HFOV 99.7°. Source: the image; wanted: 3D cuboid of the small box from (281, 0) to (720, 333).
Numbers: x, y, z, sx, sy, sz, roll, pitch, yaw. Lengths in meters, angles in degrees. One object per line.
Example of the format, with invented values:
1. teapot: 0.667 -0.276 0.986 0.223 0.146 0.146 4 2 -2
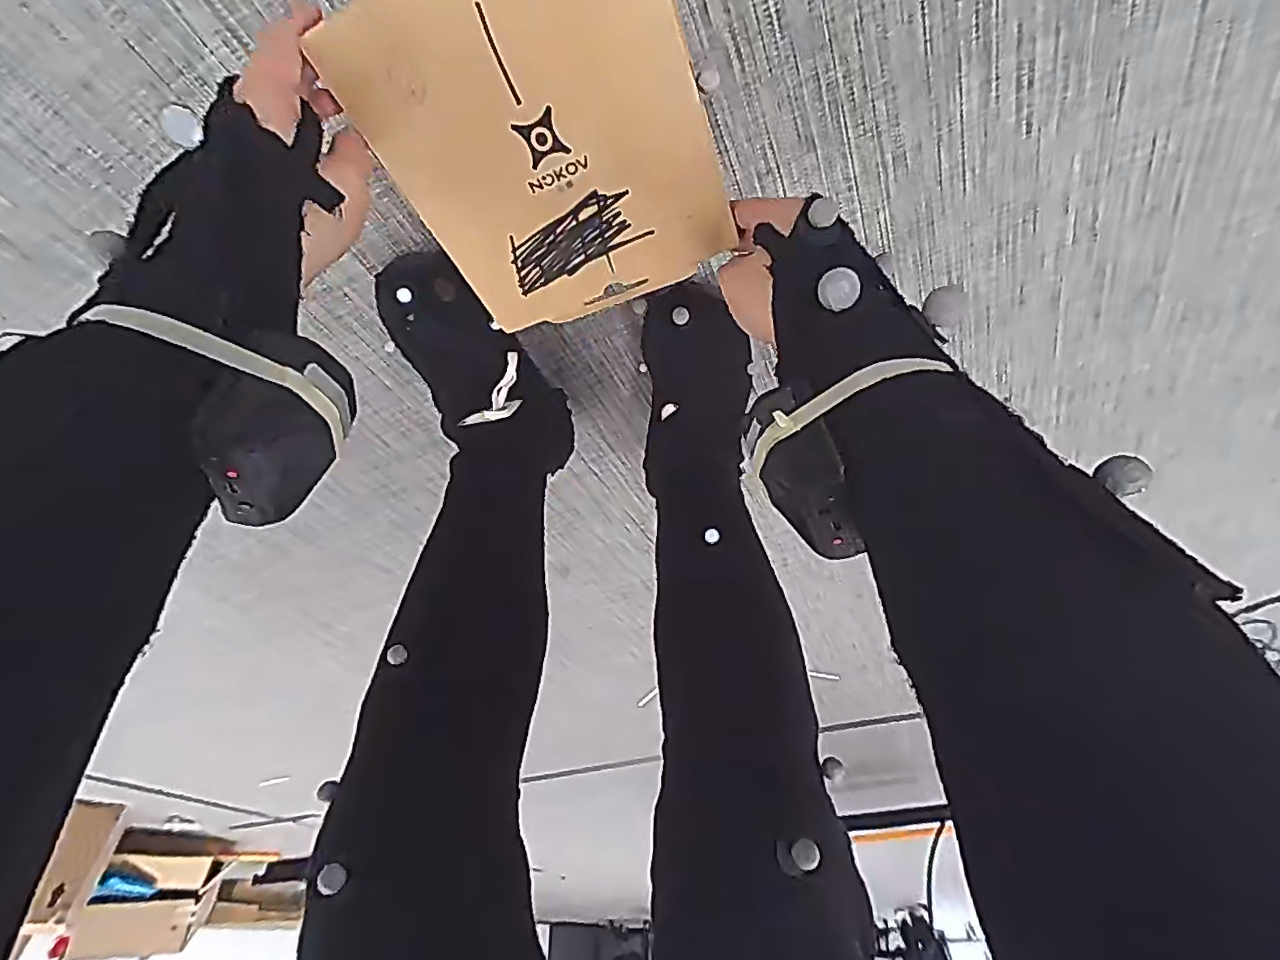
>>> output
1. small box: -0.057 -0.229 0.333 0.168 0.176 0.179 -15 138 16
